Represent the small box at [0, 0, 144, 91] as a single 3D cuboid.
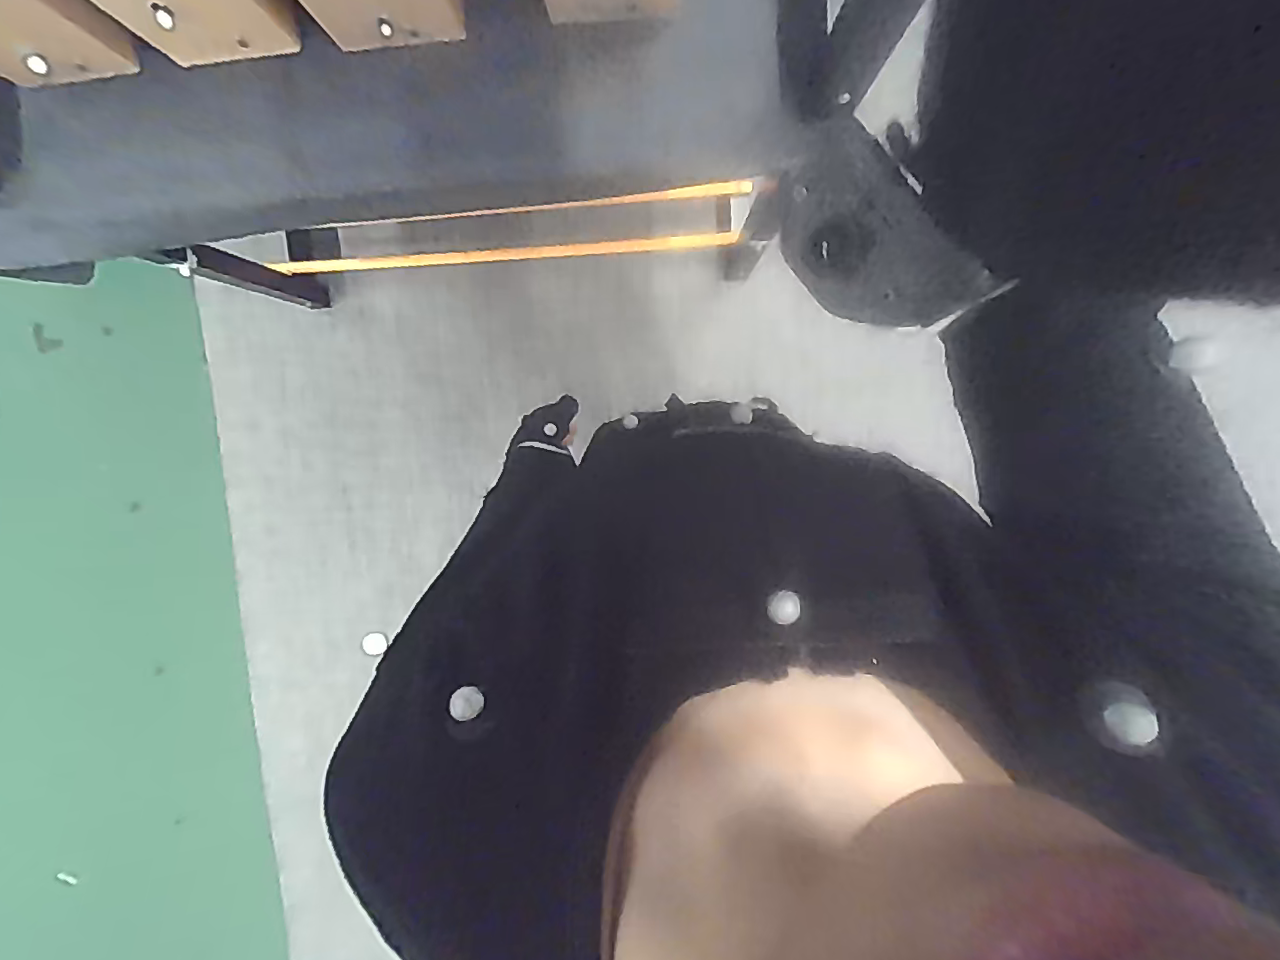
[{"bbox_3d":[-0.744,-0.603,0.631,0.168,0.176,0.179,-6,97,3],"label":"small box"}]
